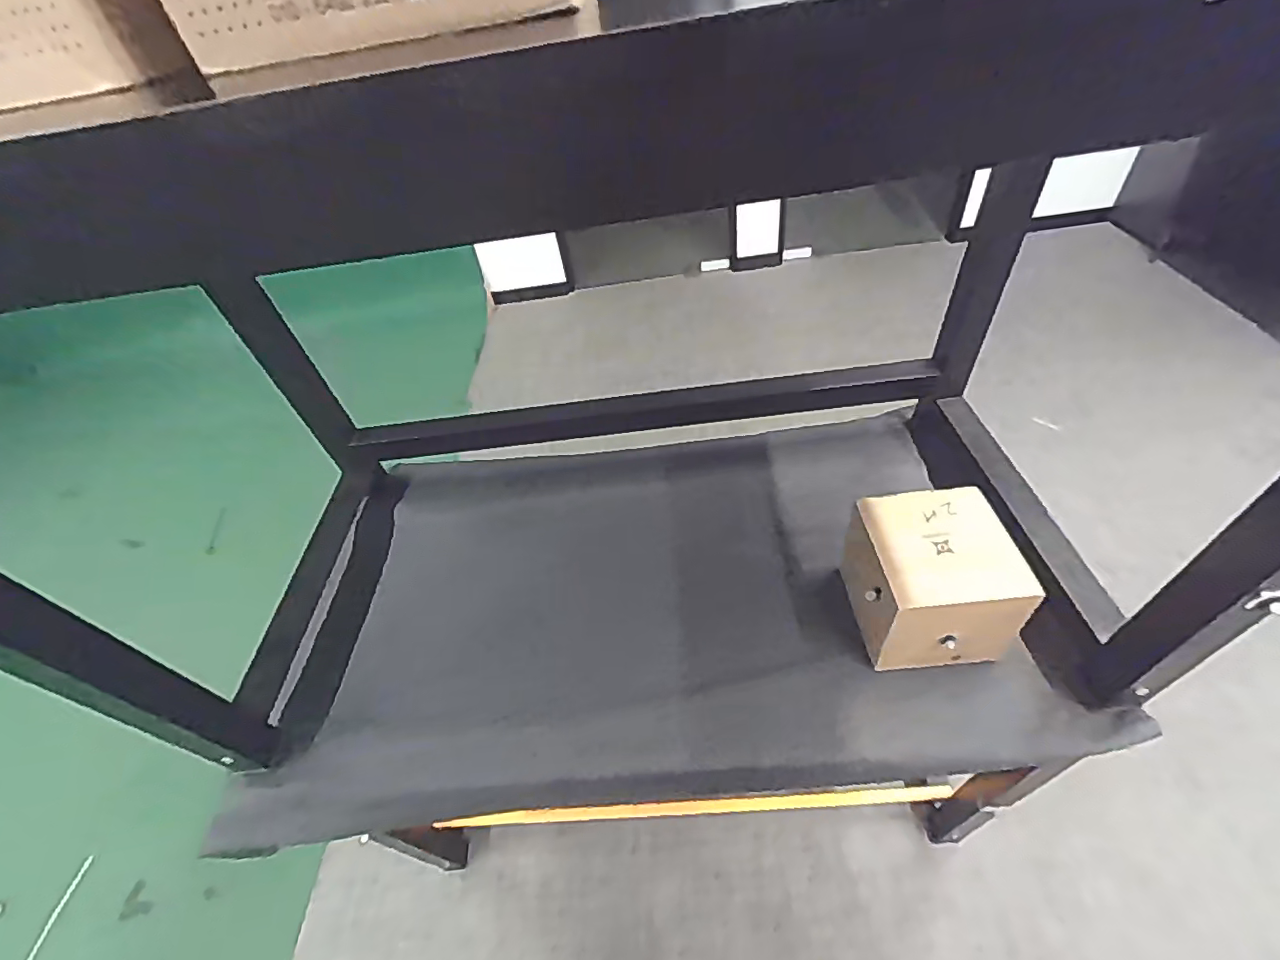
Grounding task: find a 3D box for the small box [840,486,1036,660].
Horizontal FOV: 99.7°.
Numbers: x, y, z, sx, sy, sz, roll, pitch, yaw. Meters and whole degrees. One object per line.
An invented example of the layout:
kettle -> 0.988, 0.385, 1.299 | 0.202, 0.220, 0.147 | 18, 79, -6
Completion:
small box -> 0.387, 0.134, 0.743 | 0.168, 0.176, 0.179 | -6, 45, 4
